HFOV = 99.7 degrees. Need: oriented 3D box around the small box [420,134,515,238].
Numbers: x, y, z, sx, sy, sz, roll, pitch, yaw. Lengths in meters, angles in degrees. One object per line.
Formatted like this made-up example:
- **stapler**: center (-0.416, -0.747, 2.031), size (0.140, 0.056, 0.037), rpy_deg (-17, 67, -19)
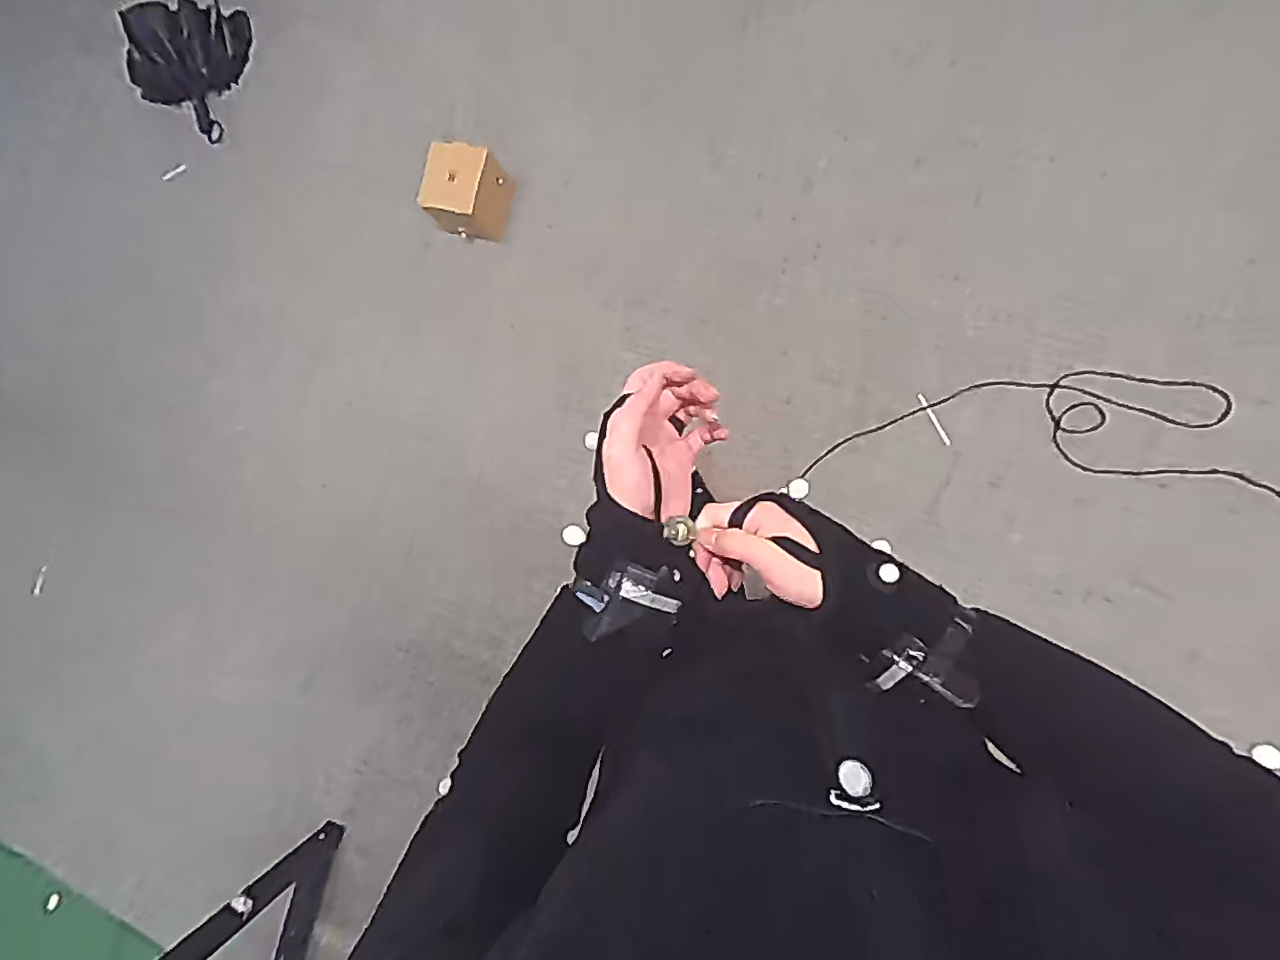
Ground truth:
- **small box**: center (-0.456, -0.786, 1.458), size (0.168, 0.176, 0.179), rpy_deg (15, 93, 11)
